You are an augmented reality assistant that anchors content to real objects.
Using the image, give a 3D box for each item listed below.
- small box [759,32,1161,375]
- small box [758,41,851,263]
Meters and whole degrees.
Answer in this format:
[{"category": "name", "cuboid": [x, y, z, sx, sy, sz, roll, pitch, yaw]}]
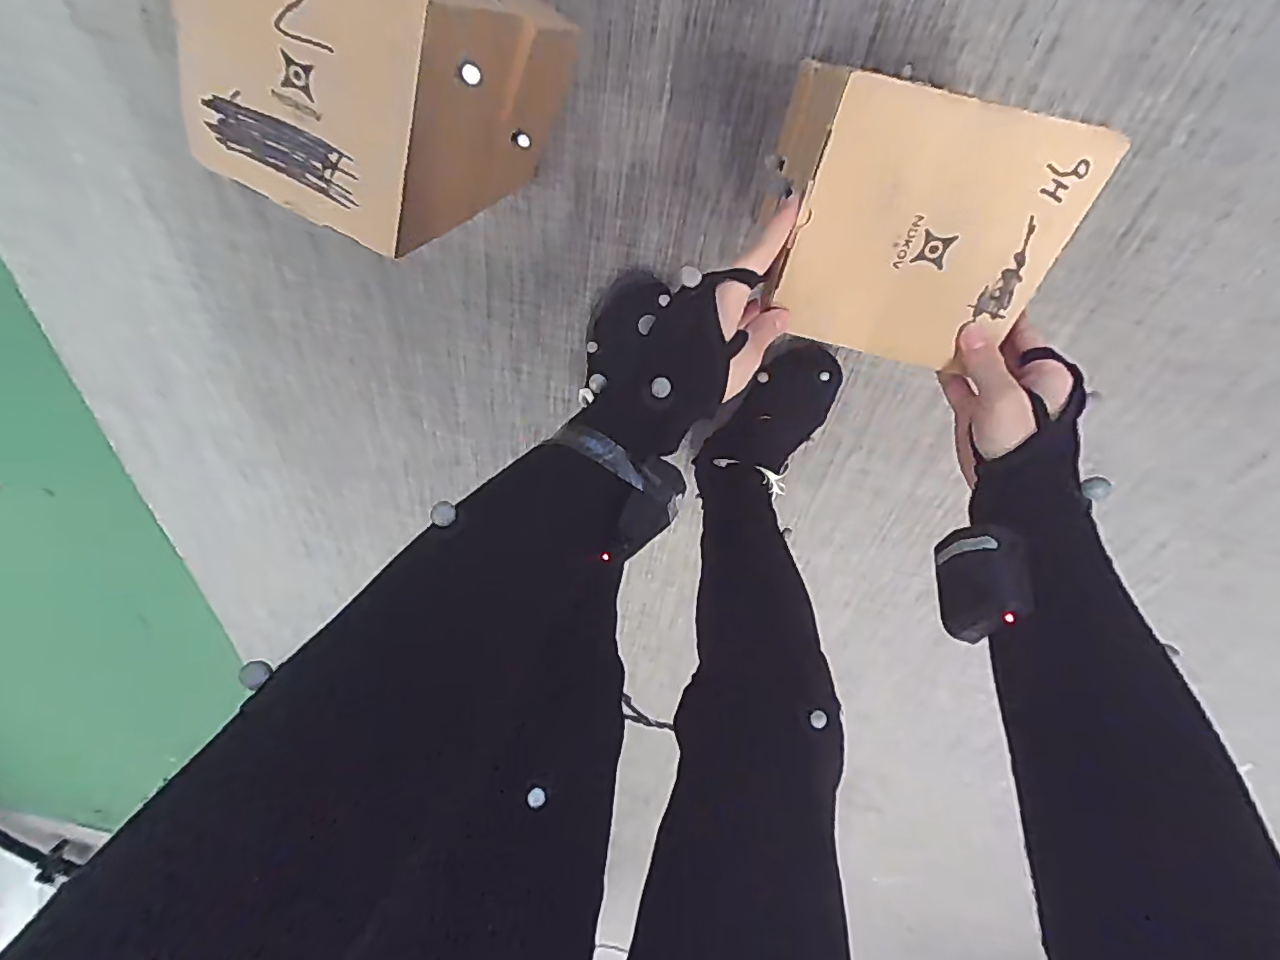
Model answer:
[{"category": "small box", "cuboid": [0.202, -0.210, 0.409, 0.179, 0.176, 0.168, 16, 130, 0]}, {"category": "small box", "cuboid": [0.226, -0.308, 0.537, 0.168, 0.176, 0.179, 15, 130, 1]}]
